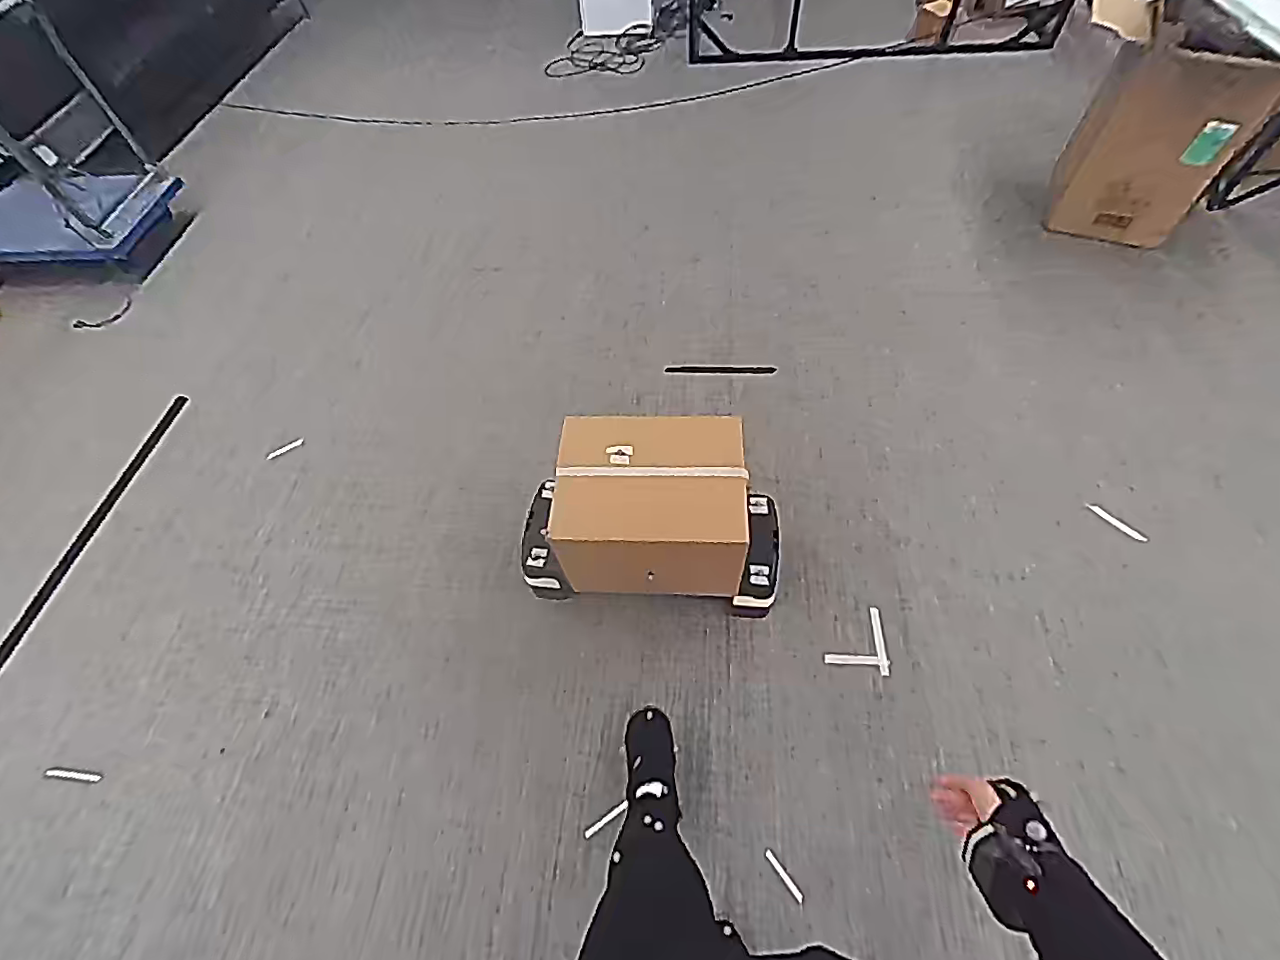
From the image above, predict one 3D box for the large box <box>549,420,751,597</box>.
[{"bbox_3d":[0.037,0.077,1.259,0.408,0.320,0.320,0,57,6],"label":"large box"}]
